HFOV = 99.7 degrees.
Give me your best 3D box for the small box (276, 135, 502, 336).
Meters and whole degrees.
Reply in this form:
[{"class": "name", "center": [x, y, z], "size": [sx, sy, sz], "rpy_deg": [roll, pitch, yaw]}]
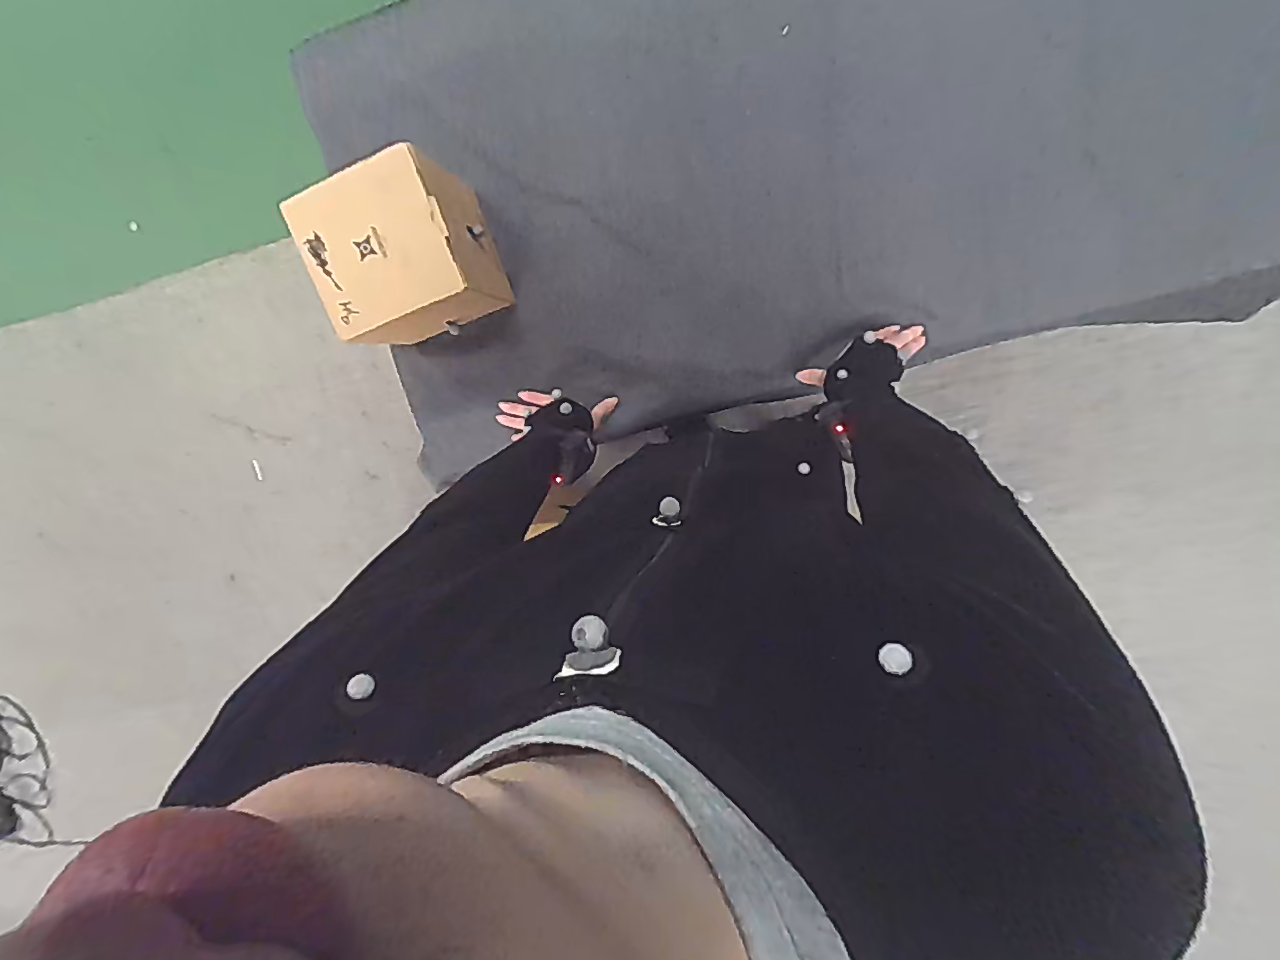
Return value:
[{"class": "small box", "center": [-0.294, -0.289, 0.682], "size": [0.179, 0.176, 0.168], "rpy_deg": [-18, 100, 10]}]
